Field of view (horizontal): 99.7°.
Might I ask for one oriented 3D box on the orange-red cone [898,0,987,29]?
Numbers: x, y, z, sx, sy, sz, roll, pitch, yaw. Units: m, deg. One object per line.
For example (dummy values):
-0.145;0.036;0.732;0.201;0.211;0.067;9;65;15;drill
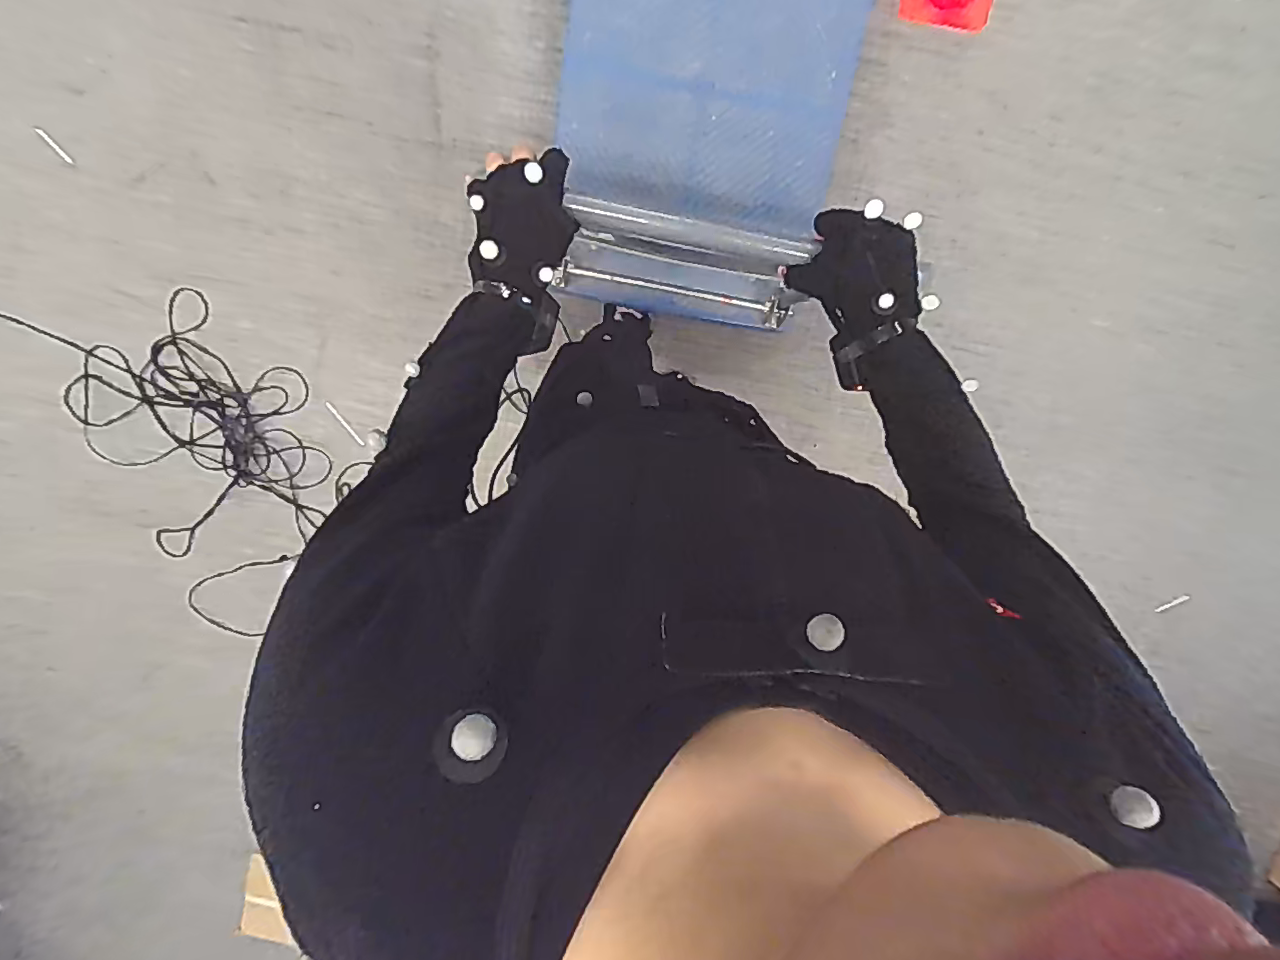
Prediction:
0.675;-1.067;1.015;0.199;0.360;0.198;11;105;-1;orange-red cone
